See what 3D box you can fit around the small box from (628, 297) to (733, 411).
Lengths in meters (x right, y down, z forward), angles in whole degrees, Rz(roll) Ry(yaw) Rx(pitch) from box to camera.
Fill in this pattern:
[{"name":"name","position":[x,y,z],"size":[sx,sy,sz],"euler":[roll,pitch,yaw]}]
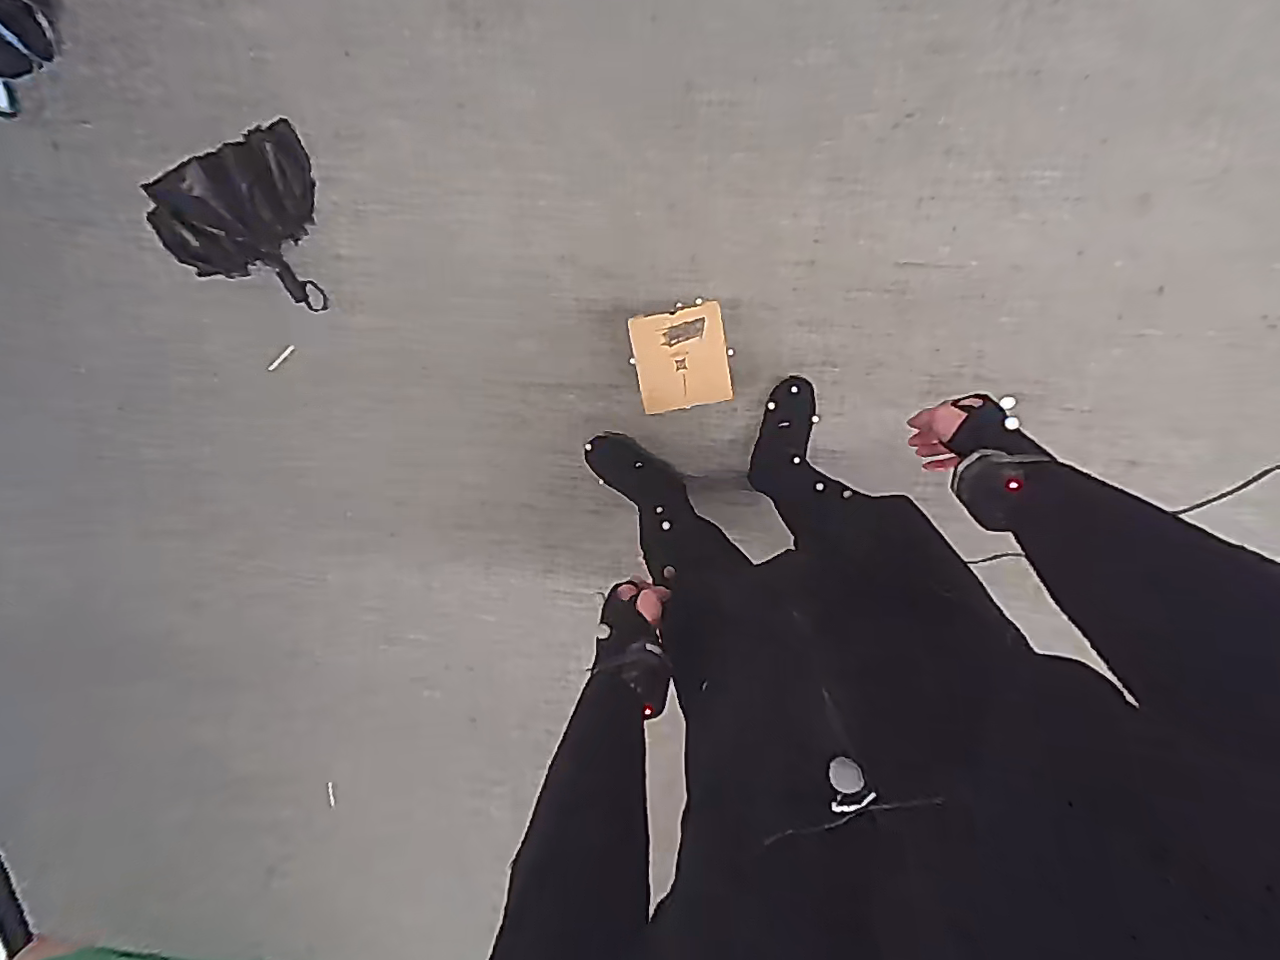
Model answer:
[{"name":"small box","position":[0.081,-0.242,1.035],"size":[0.168,0.176,0.179],"euler":[-9,106,10]}]
